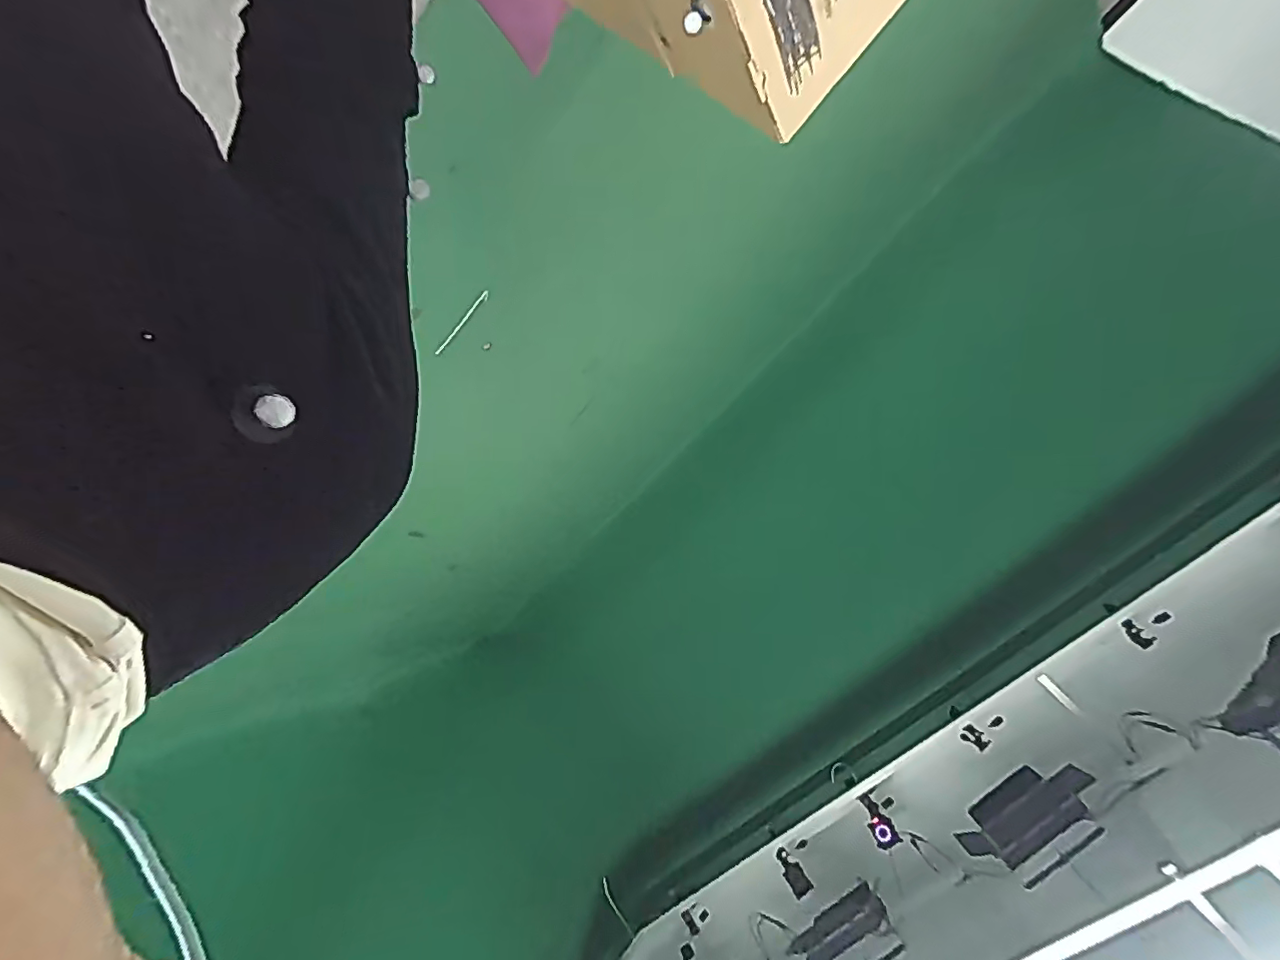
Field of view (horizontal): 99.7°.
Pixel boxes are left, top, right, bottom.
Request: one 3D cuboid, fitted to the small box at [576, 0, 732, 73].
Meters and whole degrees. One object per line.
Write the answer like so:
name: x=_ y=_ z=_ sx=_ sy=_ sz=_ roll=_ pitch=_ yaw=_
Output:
small box: x=0.010 y=-0.572 z=0.531 sx=0.179 sy=0.176 sz=0.168 roll=-44 pitch=156 yaw=13
